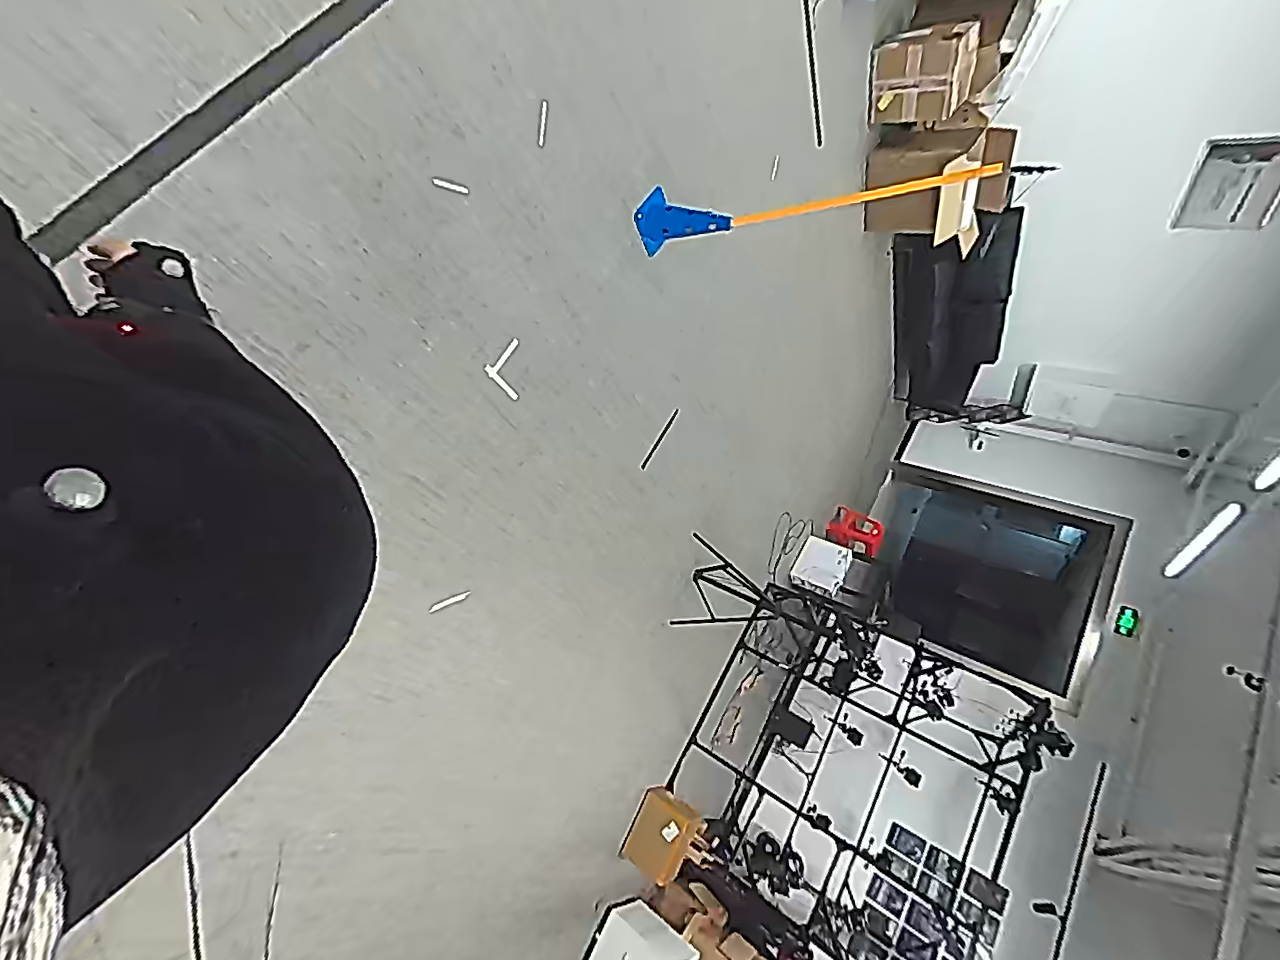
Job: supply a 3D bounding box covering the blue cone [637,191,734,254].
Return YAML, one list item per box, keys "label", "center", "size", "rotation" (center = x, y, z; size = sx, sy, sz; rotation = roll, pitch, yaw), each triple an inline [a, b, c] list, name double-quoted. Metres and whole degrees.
- label: "blue cone"
  center: [0.193, -0.985, 2.070]
  size: [0.192, 0.380, 0.193]
  rotation: [-55, 143, -20]
